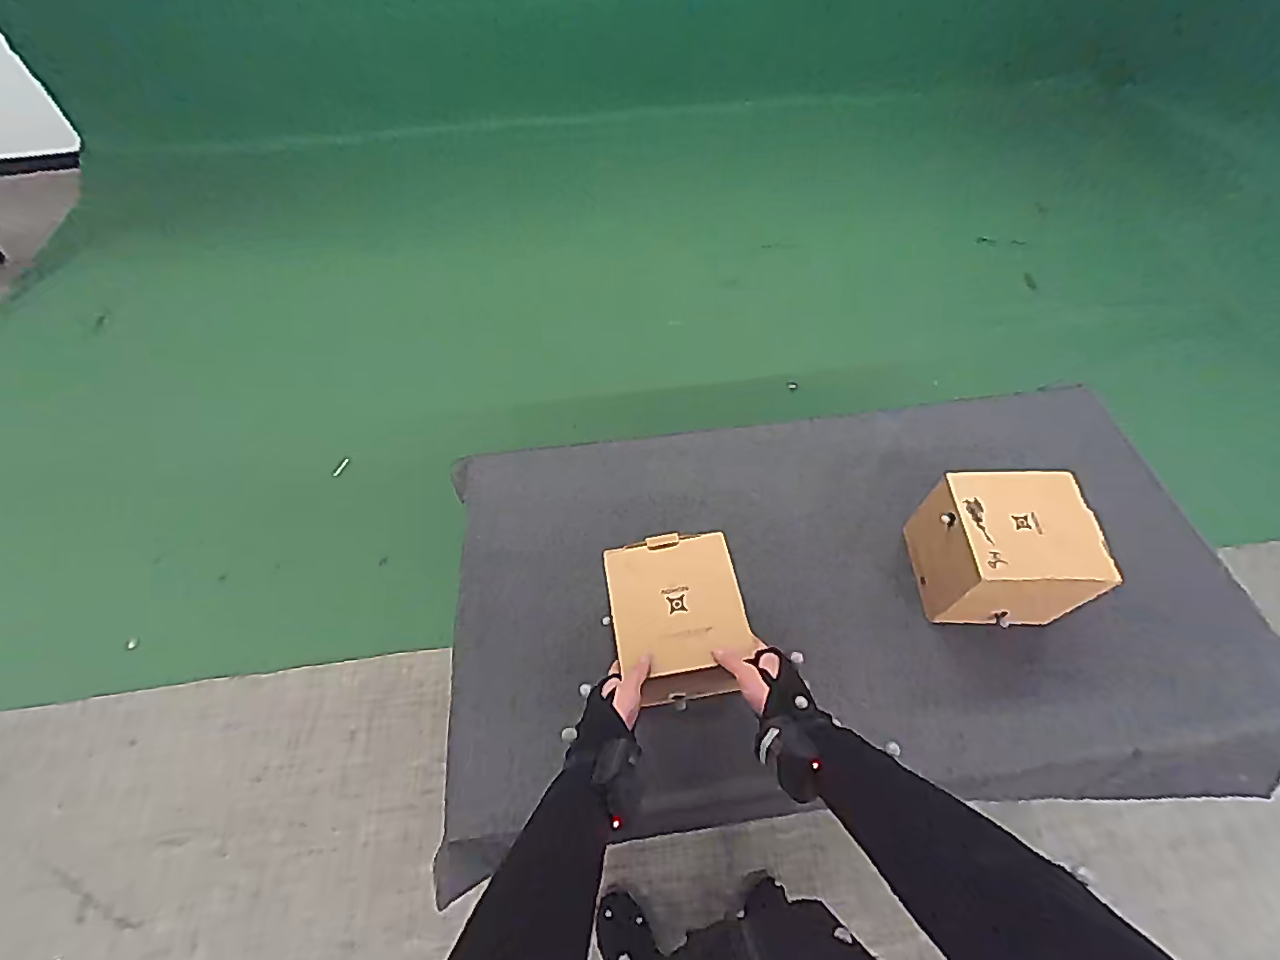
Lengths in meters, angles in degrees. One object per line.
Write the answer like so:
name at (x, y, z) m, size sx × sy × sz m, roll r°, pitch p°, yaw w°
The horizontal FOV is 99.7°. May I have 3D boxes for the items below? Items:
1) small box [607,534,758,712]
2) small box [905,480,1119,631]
small box at (0.049, 0.197, 0.732) m, size 0.168 × 0.176 × 0.179 m, roll -8°, pitch 57°, yaw -1°
small box at (0.522, 0.114, 0.790) m, size 0.179 × 0.176 × 0.168 m, roll 1°, pitch 57°, yaw 2°
